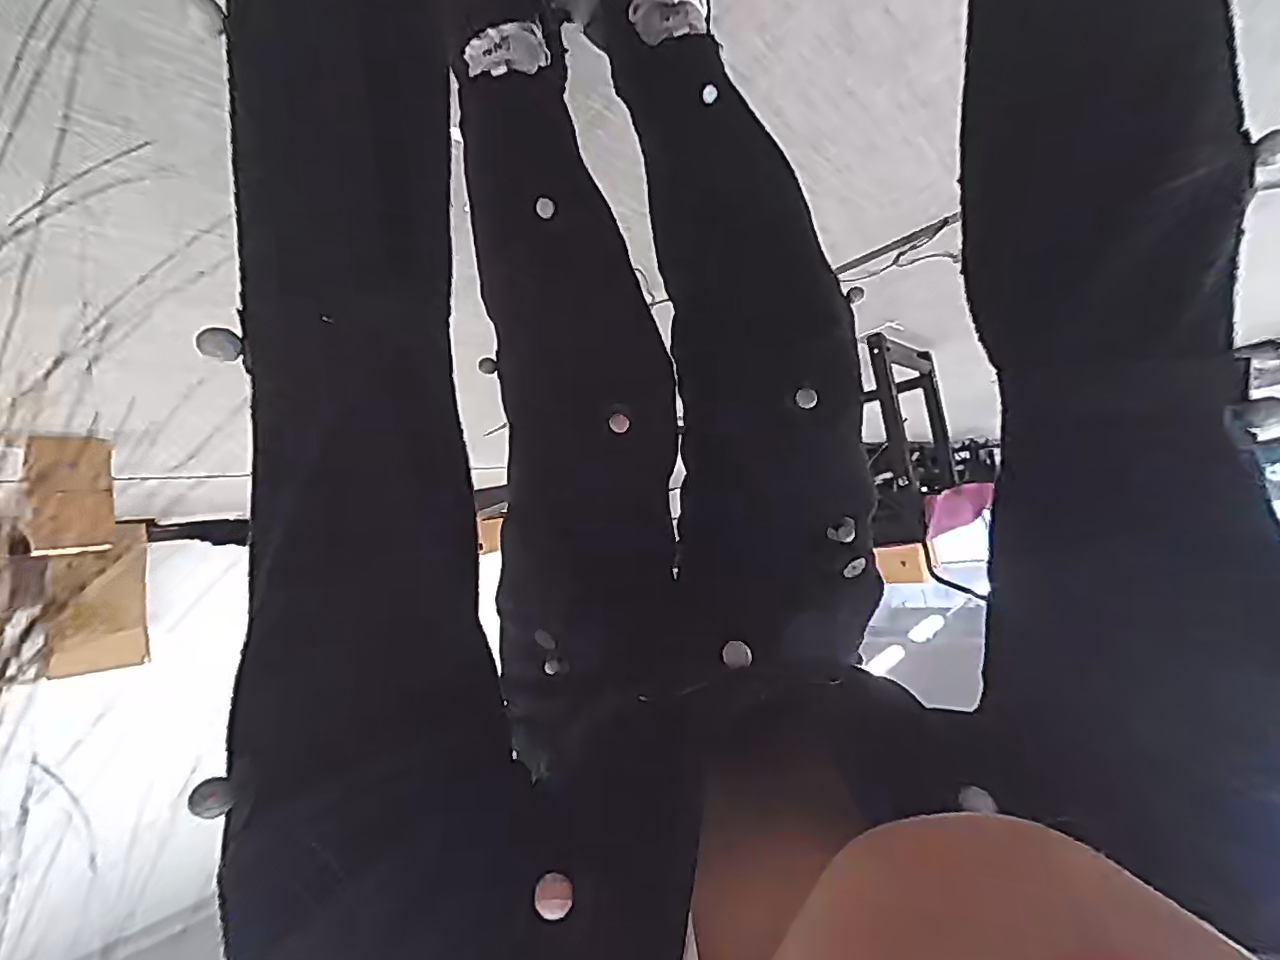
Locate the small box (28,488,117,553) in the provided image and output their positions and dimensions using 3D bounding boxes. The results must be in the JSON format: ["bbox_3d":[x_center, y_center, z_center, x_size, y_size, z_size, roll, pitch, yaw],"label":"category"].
[{"bbox_3d":[-1.734,0.122,1.650,0.168,0.176,0.179,-13,174,40],"label":"small box"}]

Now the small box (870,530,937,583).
[{"bbox_3d":[1.008,0.294,2.075,0.179,0.176,0.168,-5,173,-43],"label":"small box"}]
